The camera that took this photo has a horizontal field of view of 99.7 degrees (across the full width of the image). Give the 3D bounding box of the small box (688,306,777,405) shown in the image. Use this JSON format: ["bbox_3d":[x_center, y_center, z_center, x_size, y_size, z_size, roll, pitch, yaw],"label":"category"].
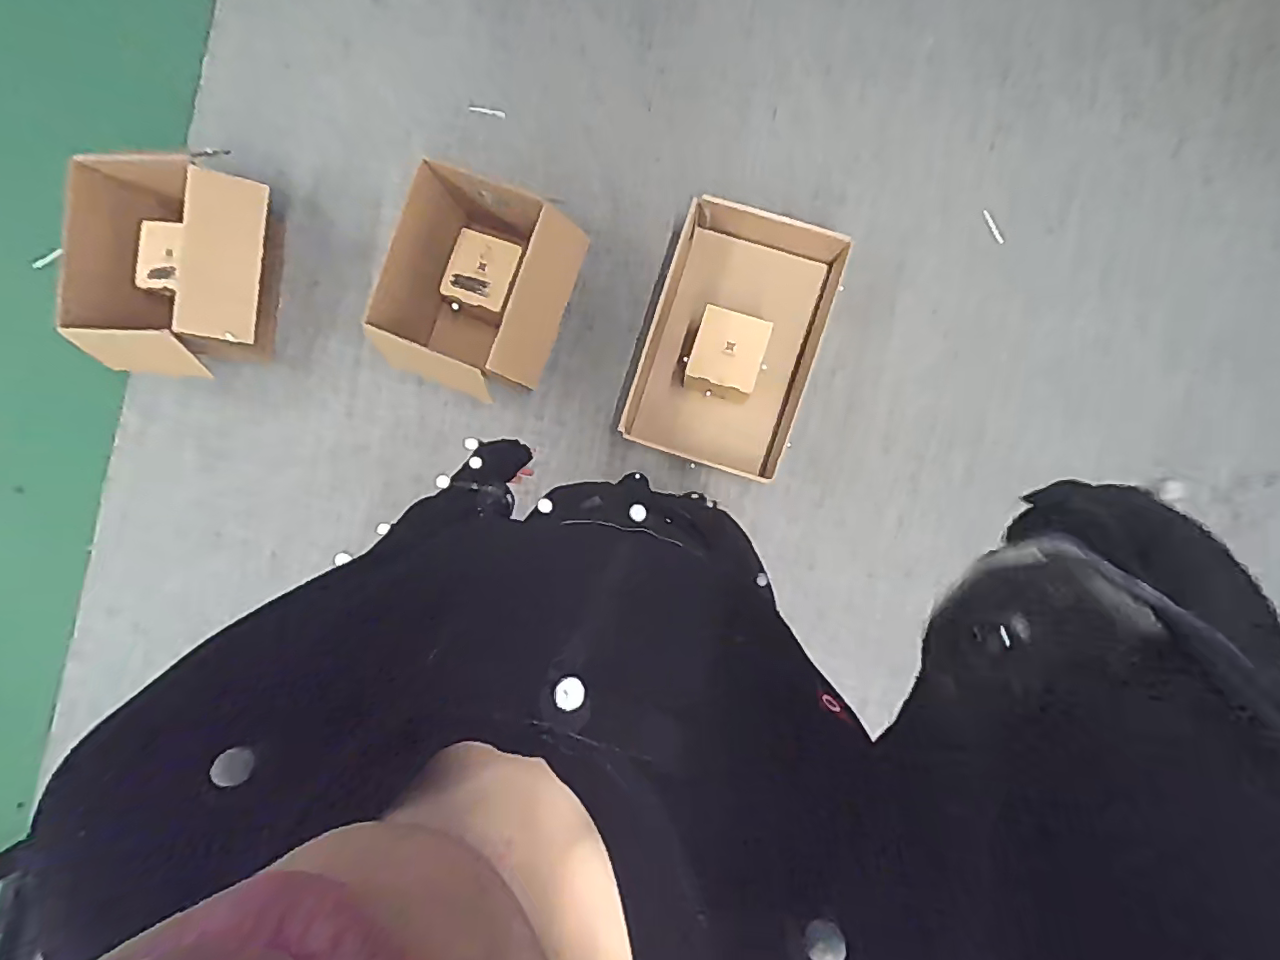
[{"bbox_3d":[0.220,-0.301,1.340,0.168,0.176,0.179,18,90,4],"label":"small box"}]
